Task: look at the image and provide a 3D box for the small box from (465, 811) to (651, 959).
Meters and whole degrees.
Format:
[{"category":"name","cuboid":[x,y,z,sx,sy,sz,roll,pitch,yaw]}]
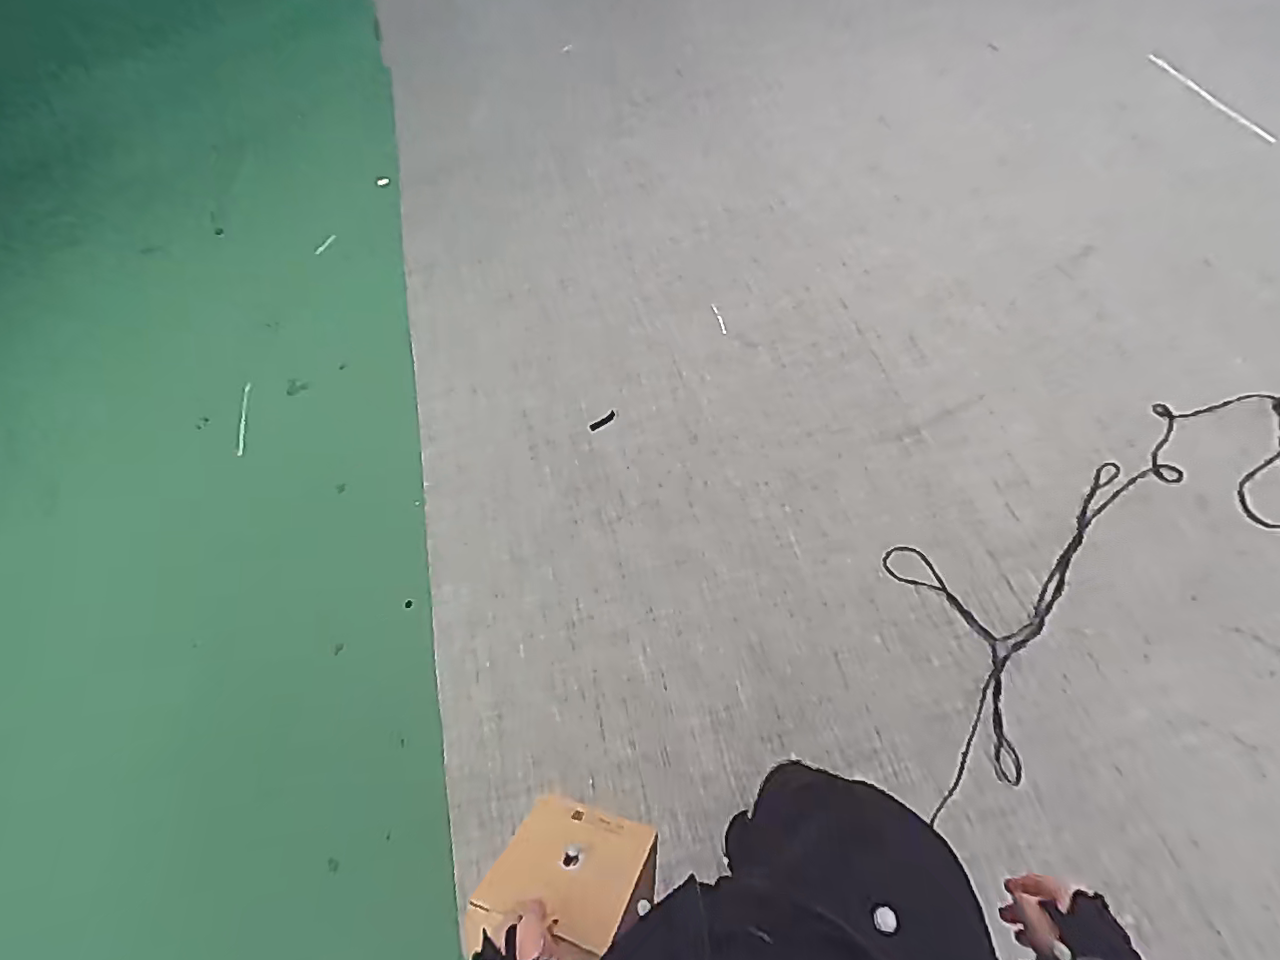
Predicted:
[{"category":"small box","cuboid":[-0.090,0.545,0.648,0.168,0.176,0.179,6,101,19]}]
